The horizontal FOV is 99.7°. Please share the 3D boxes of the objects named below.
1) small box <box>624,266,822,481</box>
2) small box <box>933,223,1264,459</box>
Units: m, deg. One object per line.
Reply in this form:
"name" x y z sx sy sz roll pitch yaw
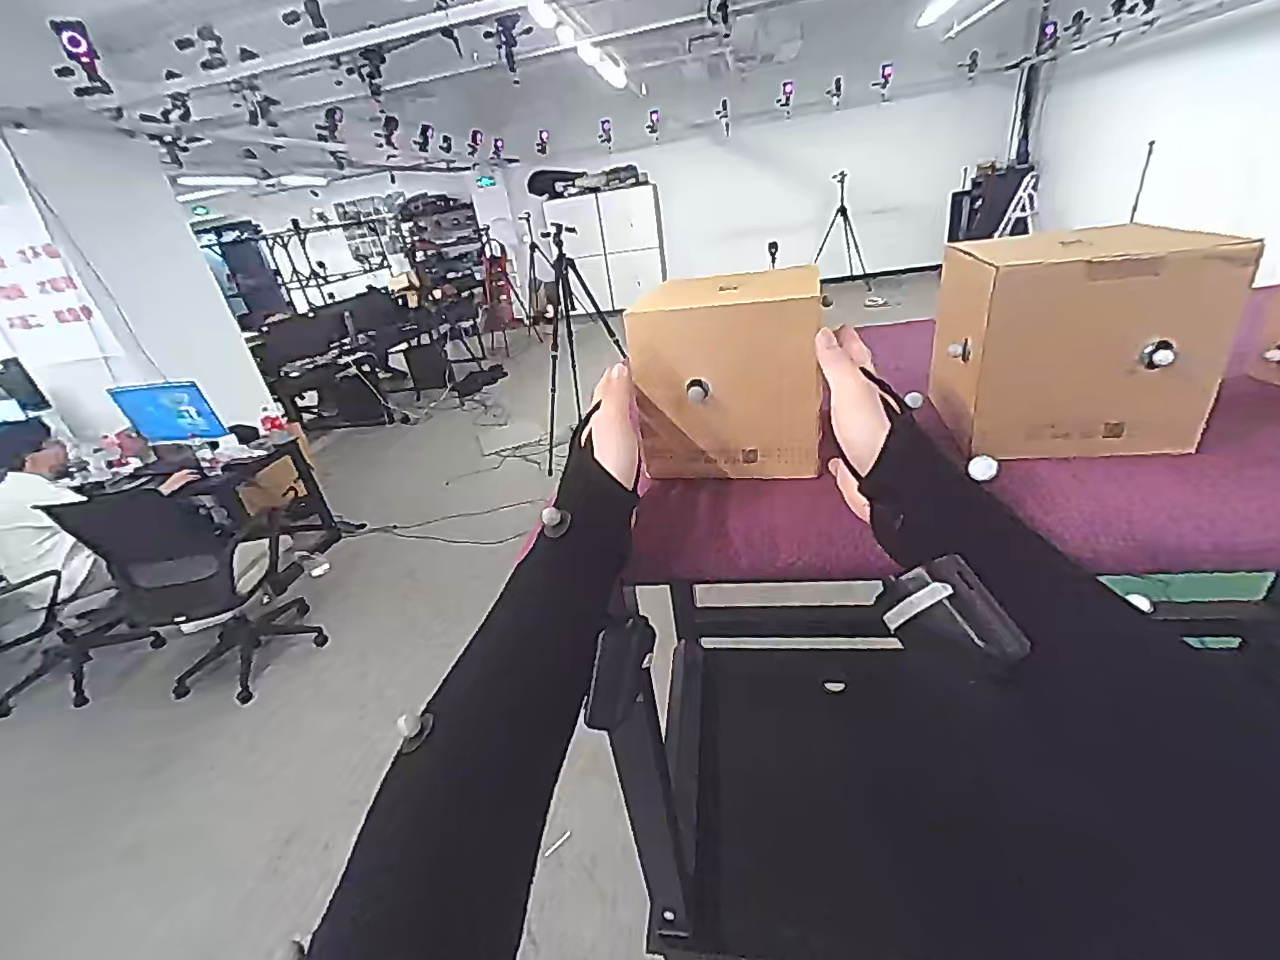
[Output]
"small box" 0.097 -0.107 0.551 0.168 0.176 0.179 0 28 17
"small box" 0.382 -0.126 0.496 0.168 0.176 0.179 0 28 17
